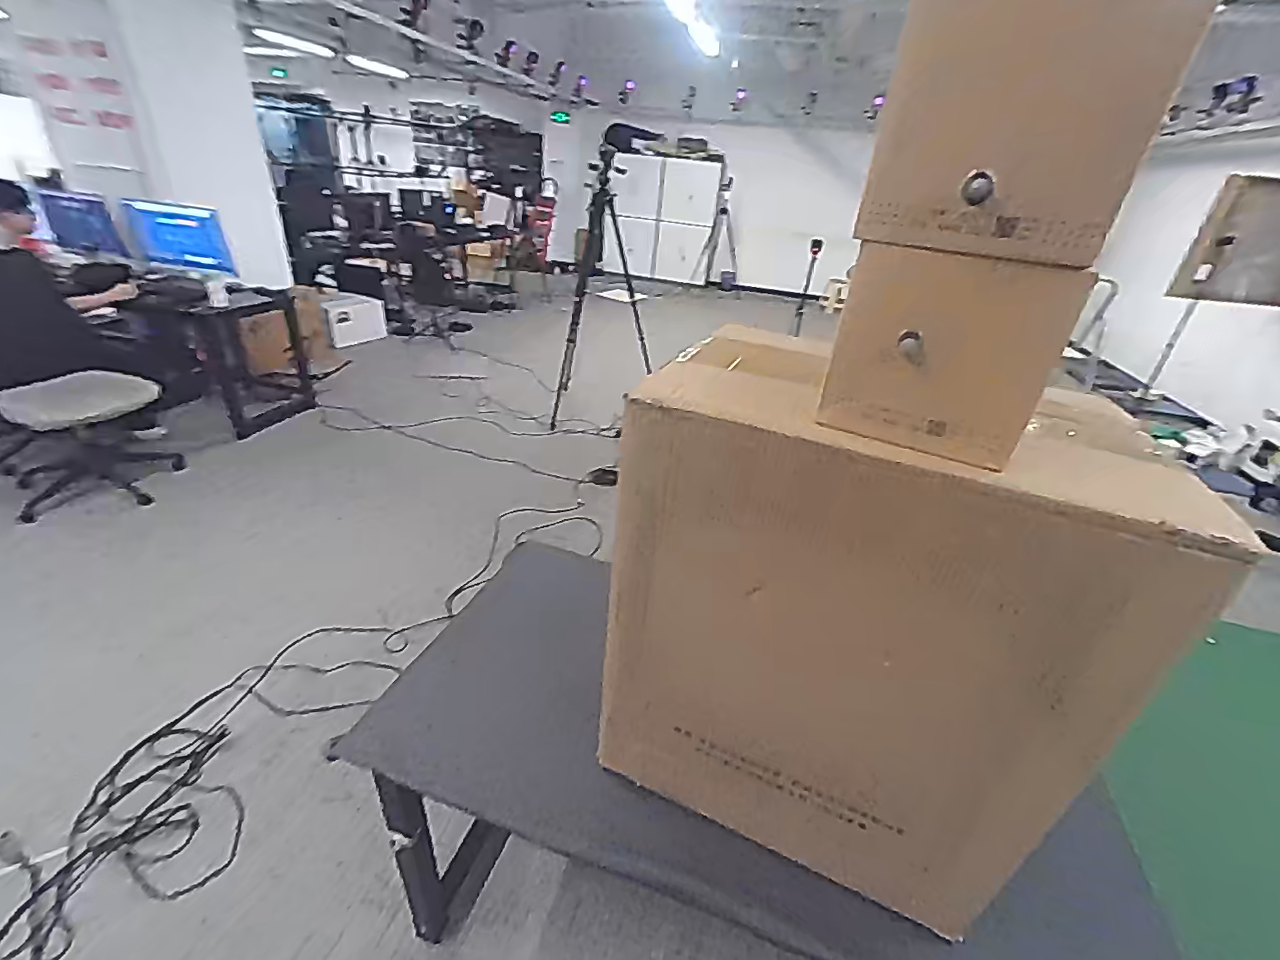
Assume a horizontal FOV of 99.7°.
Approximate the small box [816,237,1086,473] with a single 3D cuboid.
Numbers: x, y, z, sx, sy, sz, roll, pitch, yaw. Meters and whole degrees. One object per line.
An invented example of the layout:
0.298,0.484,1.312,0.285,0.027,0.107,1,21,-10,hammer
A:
0.280,-0.126,0.516,0.168,0.176,0.179,19,33,22,small box
